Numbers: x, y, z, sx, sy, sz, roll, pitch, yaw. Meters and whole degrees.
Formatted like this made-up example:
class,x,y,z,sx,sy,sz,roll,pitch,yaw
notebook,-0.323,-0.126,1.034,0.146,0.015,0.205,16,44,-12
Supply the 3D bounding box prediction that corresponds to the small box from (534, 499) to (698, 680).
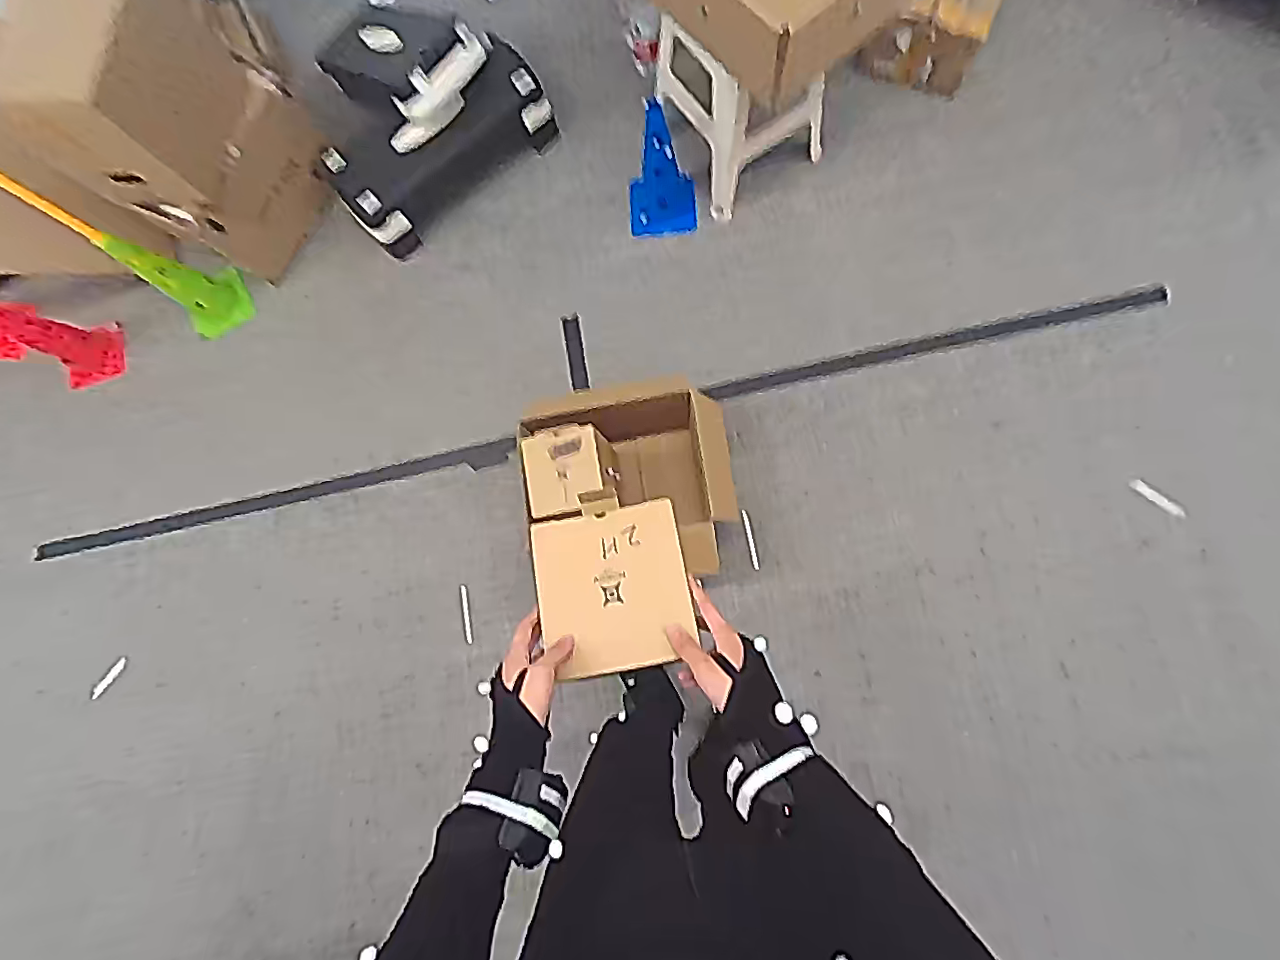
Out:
class,x,y,z,sx,sy,sz,roll,pitch,yaw
small box,-0.022,0.141,0.668,0.168,0.176,0.179,-11,70,2
